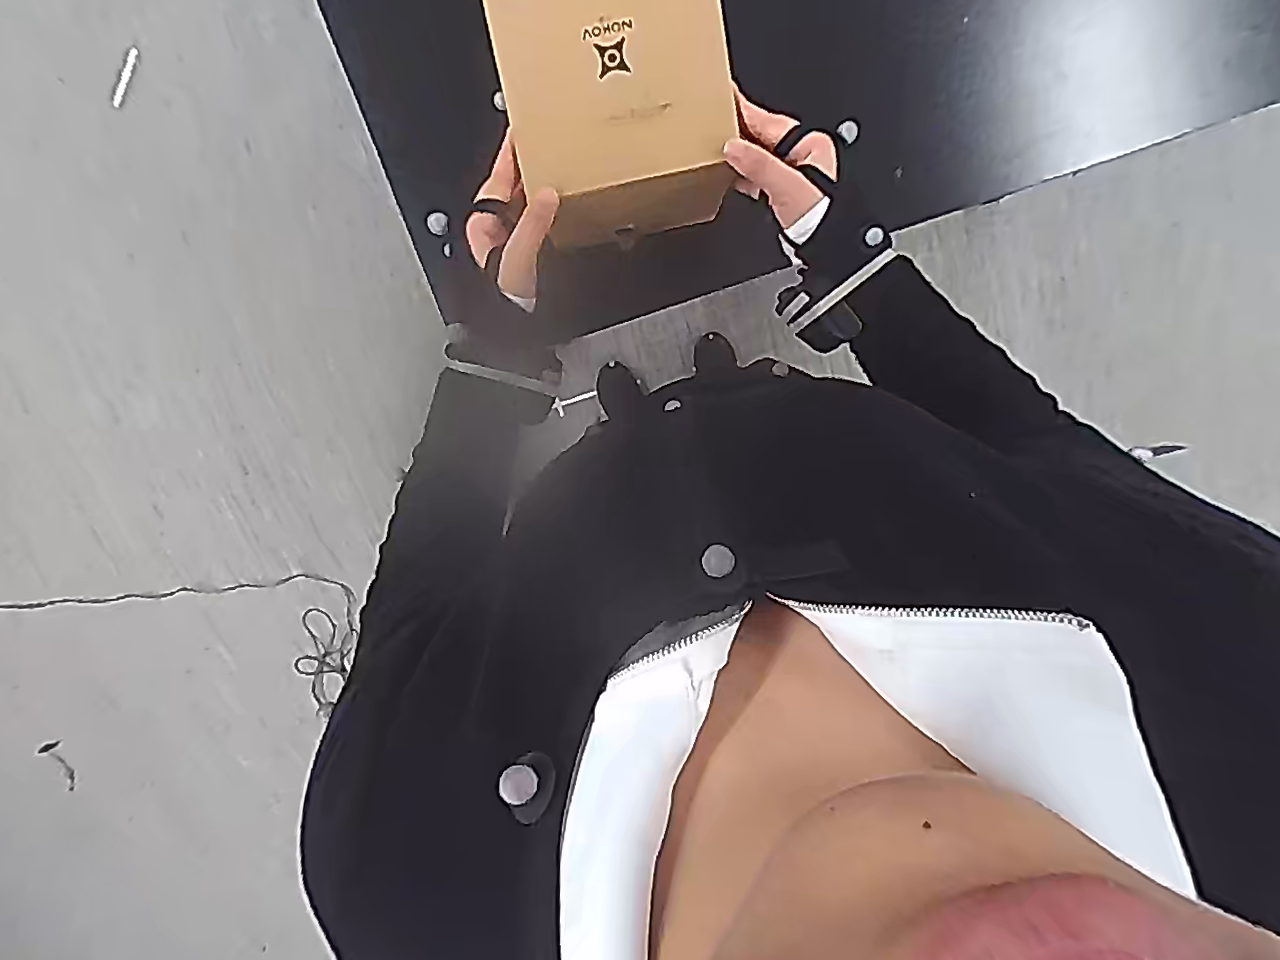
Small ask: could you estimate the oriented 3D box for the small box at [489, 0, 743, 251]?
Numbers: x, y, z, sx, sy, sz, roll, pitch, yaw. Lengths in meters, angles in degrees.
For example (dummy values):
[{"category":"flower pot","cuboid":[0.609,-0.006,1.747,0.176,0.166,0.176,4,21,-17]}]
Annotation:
[{"category":"small box","cuboid":[-0.019,-0.317,0.463,0.168,0.176,0.179,-11,102,2]}]
